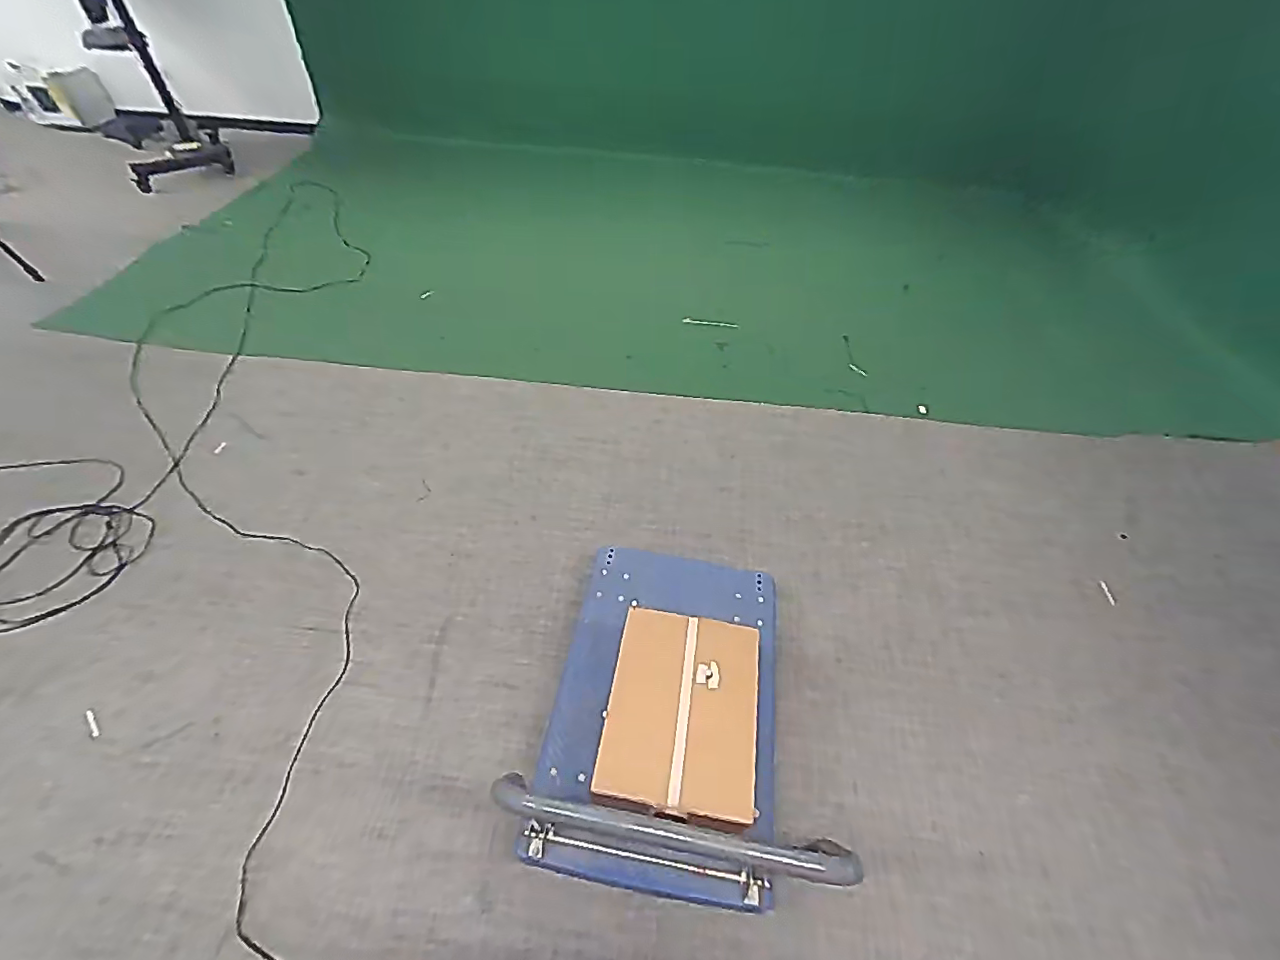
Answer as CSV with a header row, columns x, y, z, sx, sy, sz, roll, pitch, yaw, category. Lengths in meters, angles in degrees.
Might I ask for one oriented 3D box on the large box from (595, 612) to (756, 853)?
x,y,z,sx,sy,sz,roll,pitch,yaw,category
0.084,0.581,1.255,0.320,0.320,0.408,9,47,4,large box
